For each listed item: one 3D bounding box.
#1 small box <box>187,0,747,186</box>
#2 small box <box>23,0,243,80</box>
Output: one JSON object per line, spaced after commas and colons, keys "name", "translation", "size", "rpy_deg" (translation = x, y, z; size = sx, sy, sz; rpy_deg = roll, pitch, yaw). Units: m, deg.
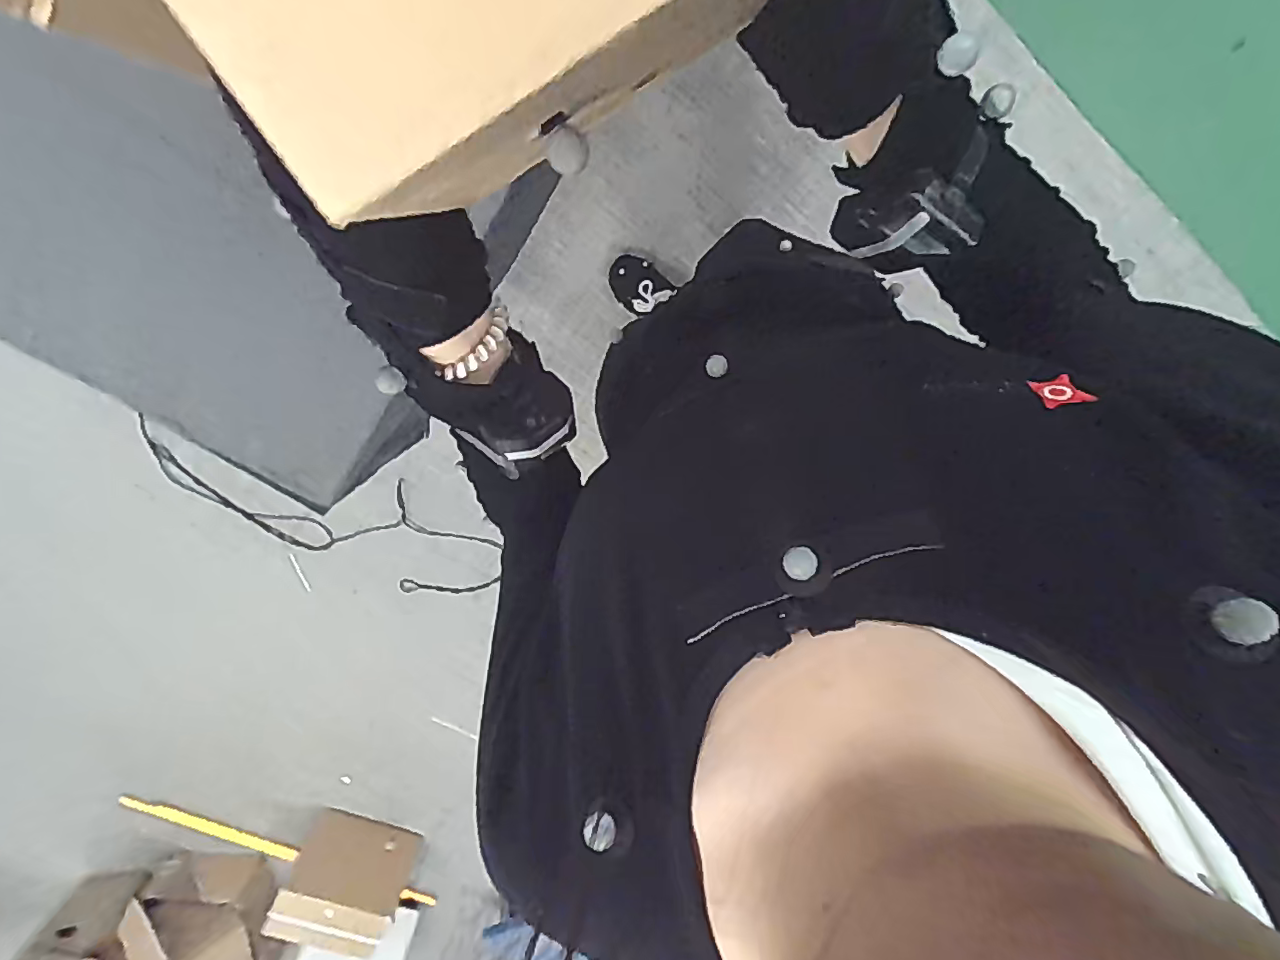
{"name": "small box", "translation": [-0.051, -0.213, 0.154], "size": [0.168, 0.176, 0.179], "rpy_deg": [-27, 116, 10]}
{"name": "small box", "translation": [-0.350, -0.400, 0.329], "size": [0.168, 0.176, 0.179], "rpy_deg": [33, 110, -12]}
